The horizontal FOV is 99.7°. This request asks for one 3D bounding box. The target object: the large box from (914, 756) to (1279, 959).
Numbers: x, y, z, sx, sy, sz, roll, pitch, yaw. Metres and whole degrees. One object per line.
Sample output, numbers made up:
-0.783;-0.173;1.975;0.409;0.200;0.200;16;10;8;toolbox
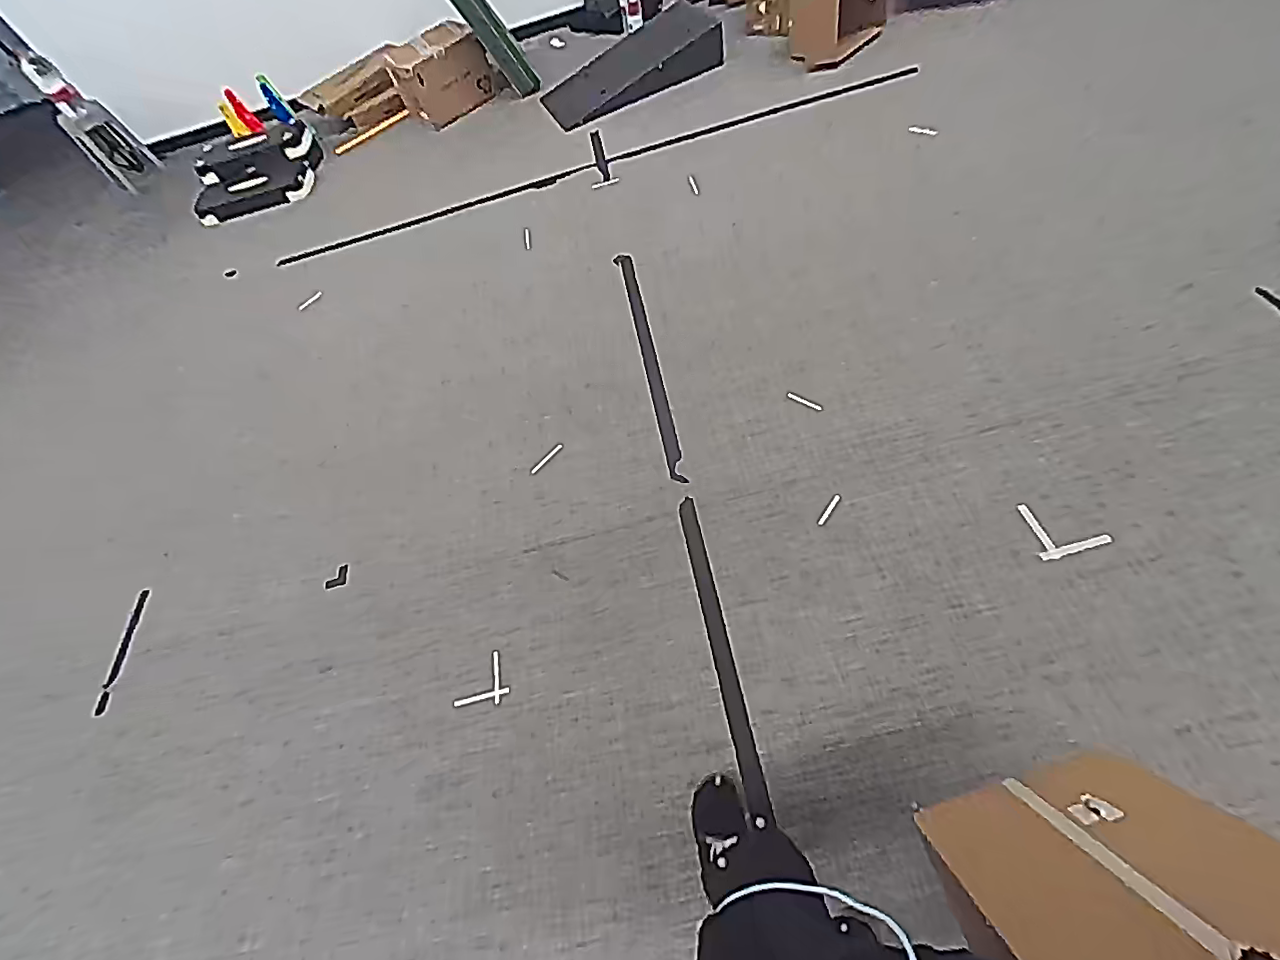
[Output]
0.605;0.594;0.626;0.320;0.408;0.320;-21;80;3;large box
